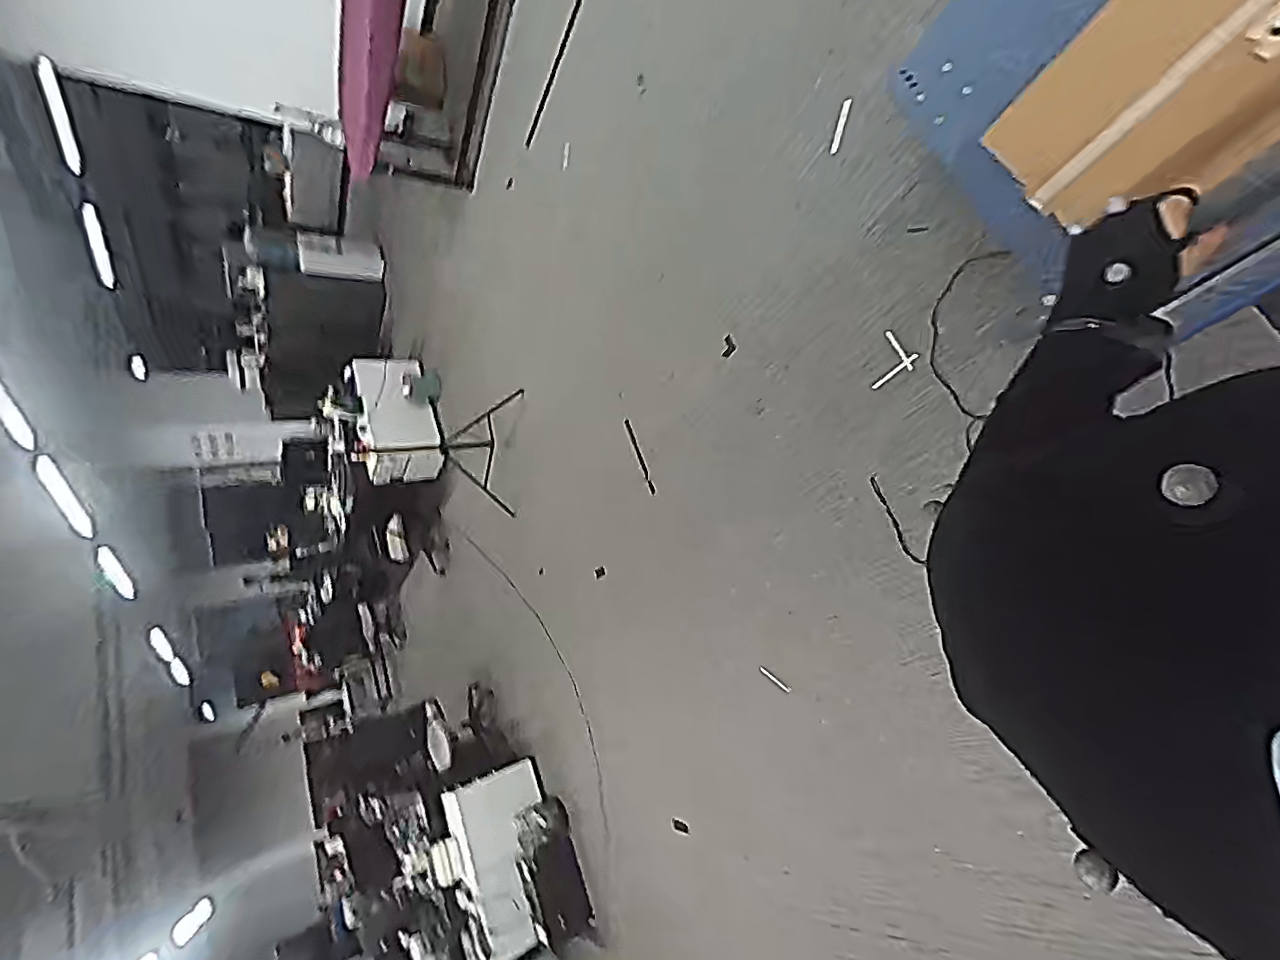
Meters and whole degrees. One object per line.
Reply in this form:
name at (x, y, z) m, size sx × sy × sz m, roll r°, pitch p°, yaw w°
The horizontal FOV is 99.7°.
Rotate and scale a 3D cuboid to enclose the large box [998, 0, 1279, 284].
large box at (0.864, -0.567, 0.802) m, size 0.408 × 0.320 × 0.320 m, roll -47°, pitch 60°, yaw 44°
